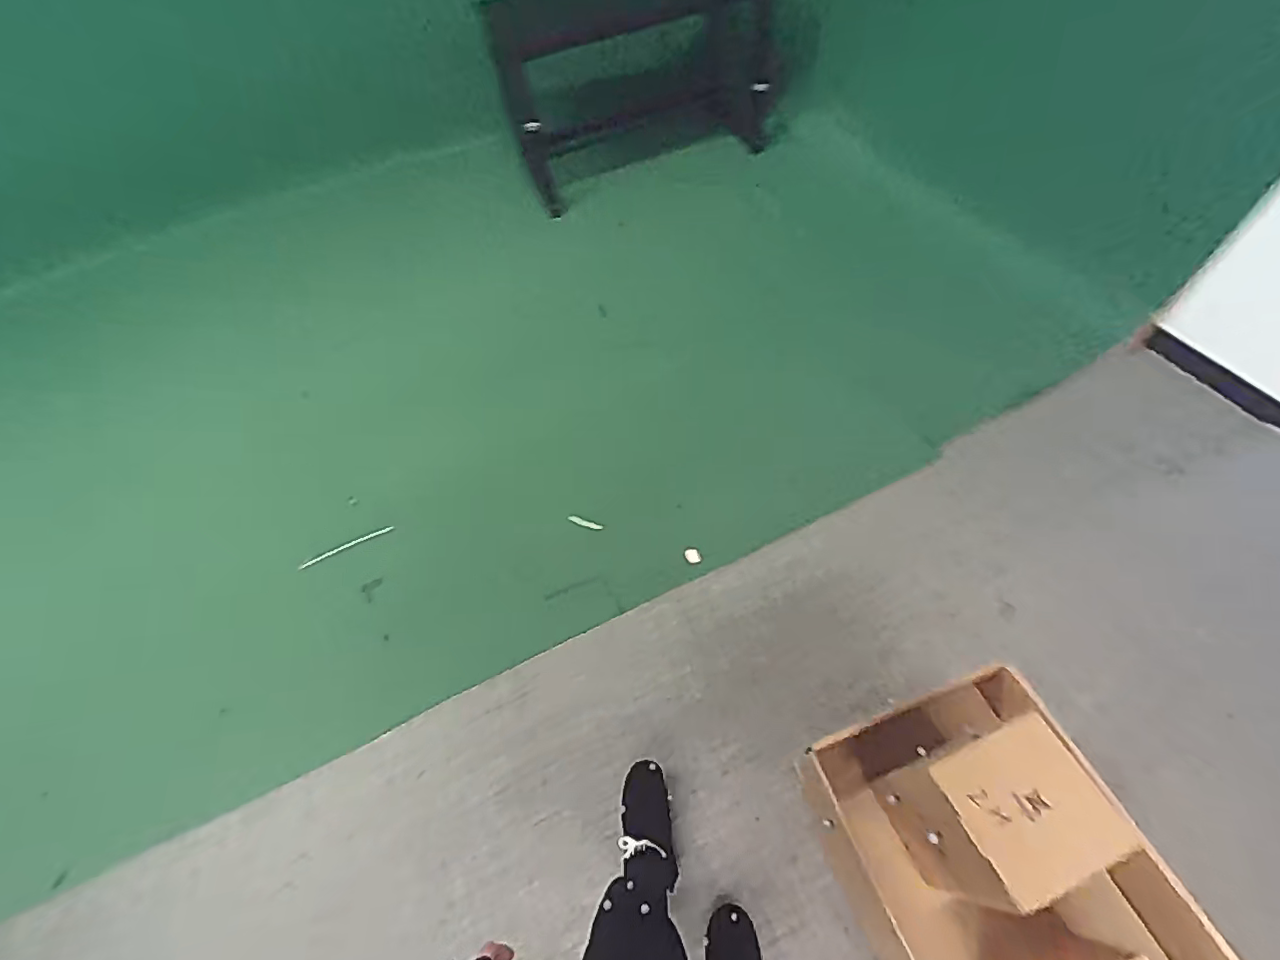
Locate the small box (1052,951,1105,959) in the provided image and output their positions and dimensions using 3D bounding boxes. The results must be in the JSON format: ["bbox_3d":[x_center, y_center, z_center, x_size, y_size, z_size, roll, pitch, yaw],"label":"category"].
[{"bbox_3d":[0.613,0.762,0.710,0.179,0.176,0.168,-19,57,-4],"label":"small box"}]

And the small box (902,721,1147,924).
[{"bbox_3d":[0.493,0.451,0.728,0.179,0.176,0.168,-22,57,-7],"label":"small box"}]
